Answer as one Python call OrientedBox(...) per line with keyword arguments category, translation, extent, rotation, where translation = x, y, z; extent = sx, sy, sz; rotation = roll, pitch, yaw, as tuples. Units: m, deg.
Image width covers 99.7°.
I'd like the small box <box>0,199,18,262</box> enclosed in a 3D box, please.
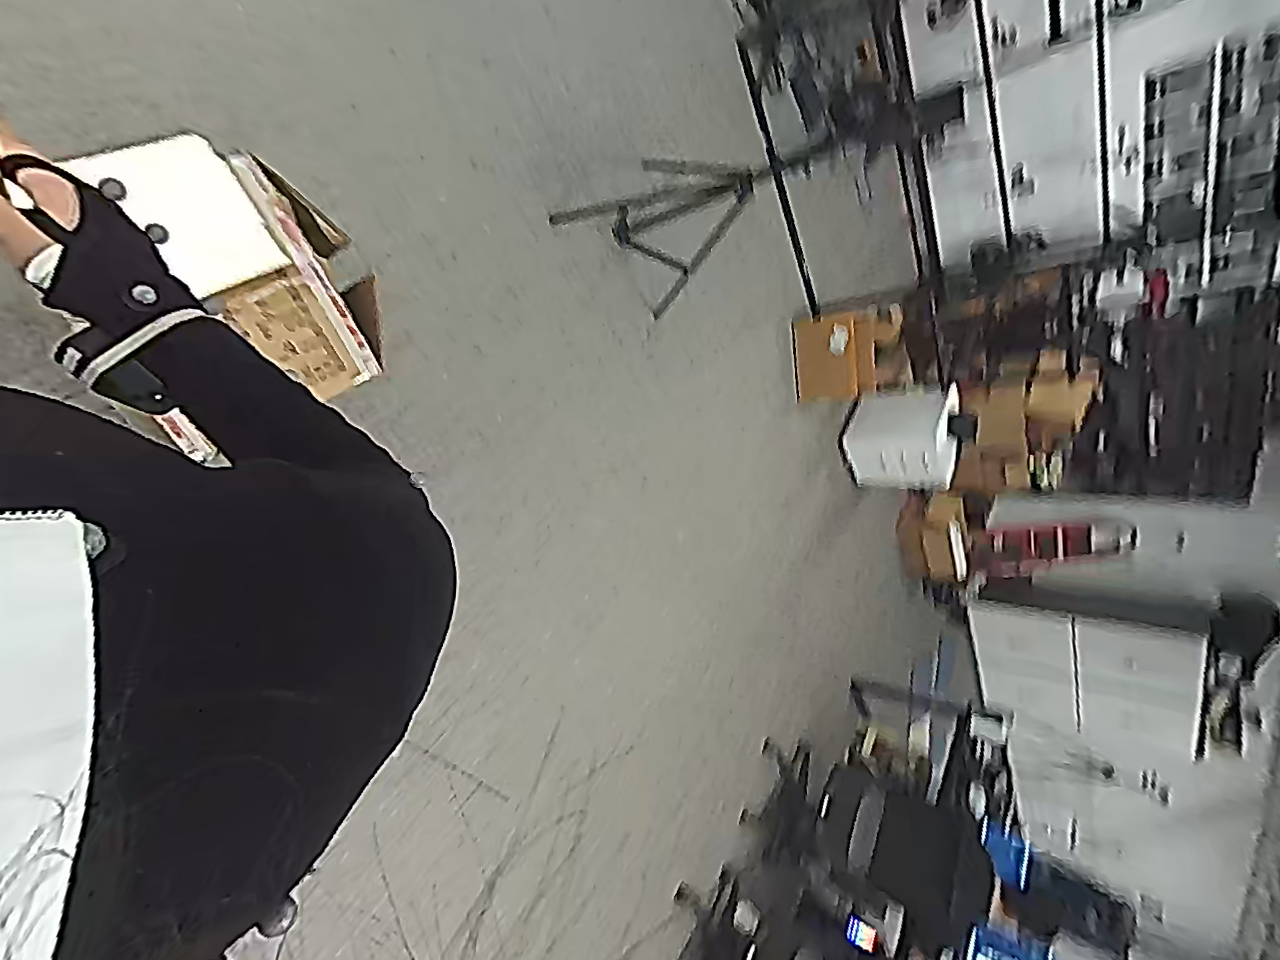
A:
OrientedBox(category="small box", translation=(-0.555, -0.225, 0.340), extent=(0.179, 0.176, 0.168), rotation=(-23, 117, -45))
